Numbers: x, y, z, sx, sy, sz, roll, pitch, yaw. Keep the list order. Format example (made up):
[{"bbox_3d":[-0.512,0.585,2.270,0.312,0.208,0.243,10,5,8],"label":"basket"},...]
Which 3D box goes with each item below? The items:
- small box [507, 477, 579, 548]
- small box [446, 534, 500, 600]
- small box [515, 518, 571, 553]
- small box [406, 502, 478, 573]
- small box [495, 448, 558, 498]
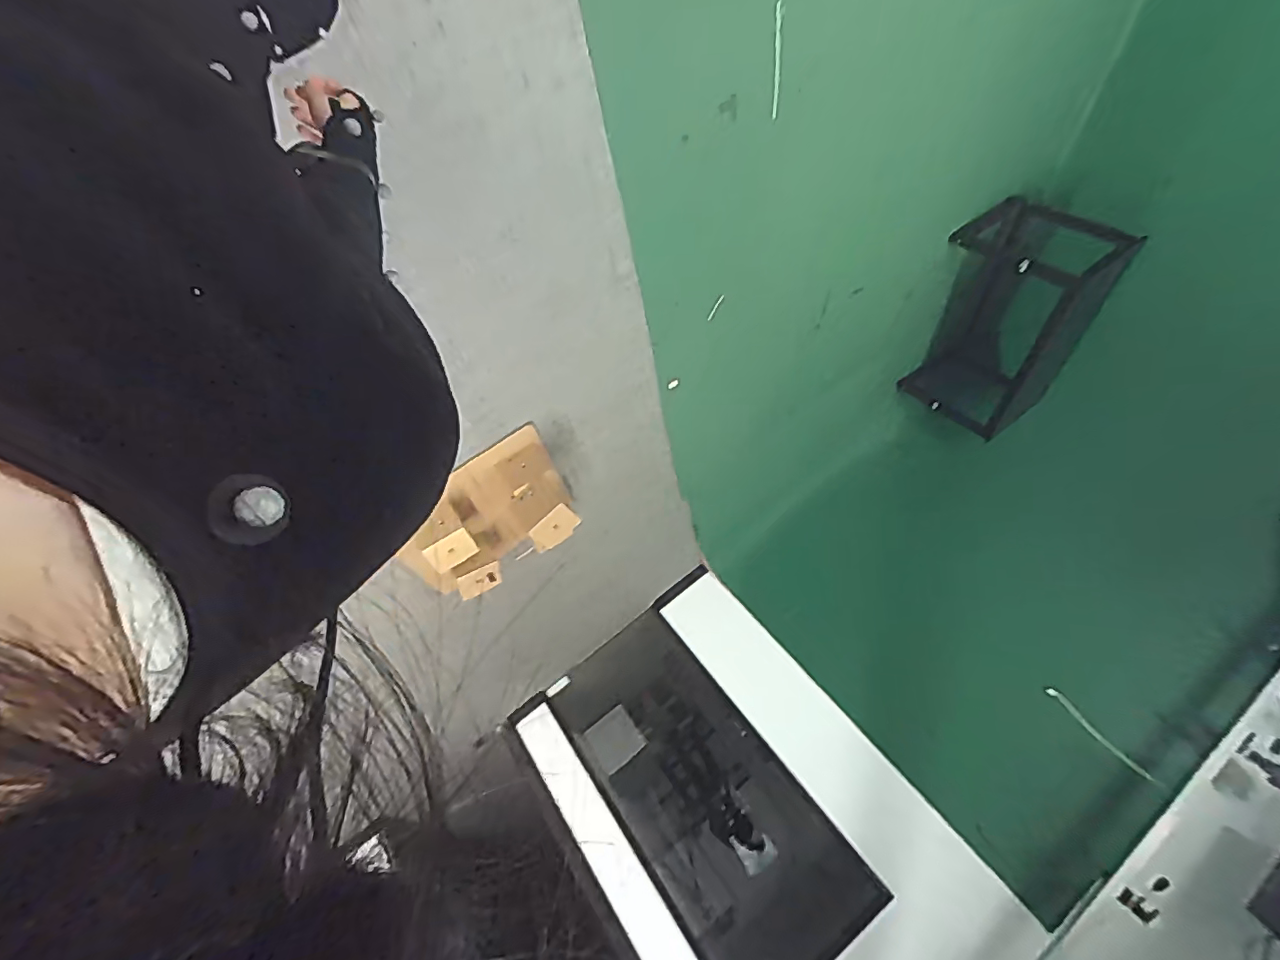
[{"bbox_3d":[-0.361,0.118,2.015,0.168,0.176,0.179,-42,147,-3],"label":"small box"},{"bbox_3d":[-0.696,0.349,2.216,0.179,0.176,0.168,-24,143,-25],"label":"small box"},{"bbox_3d":[-0.421,0.171,2.316,0.179,0.176,0.168,-31,146,-19],"label":"small box"},{"bbox_3d":[-0.738,0.205,2.008,0.168,0.176,0.179,-32,146,-16],"label":"small box"},{"bbox_3d":[-0.442,0.000,2.098,0.168,0.176,0.179,-32,146,-17],"label":"small box"}]
